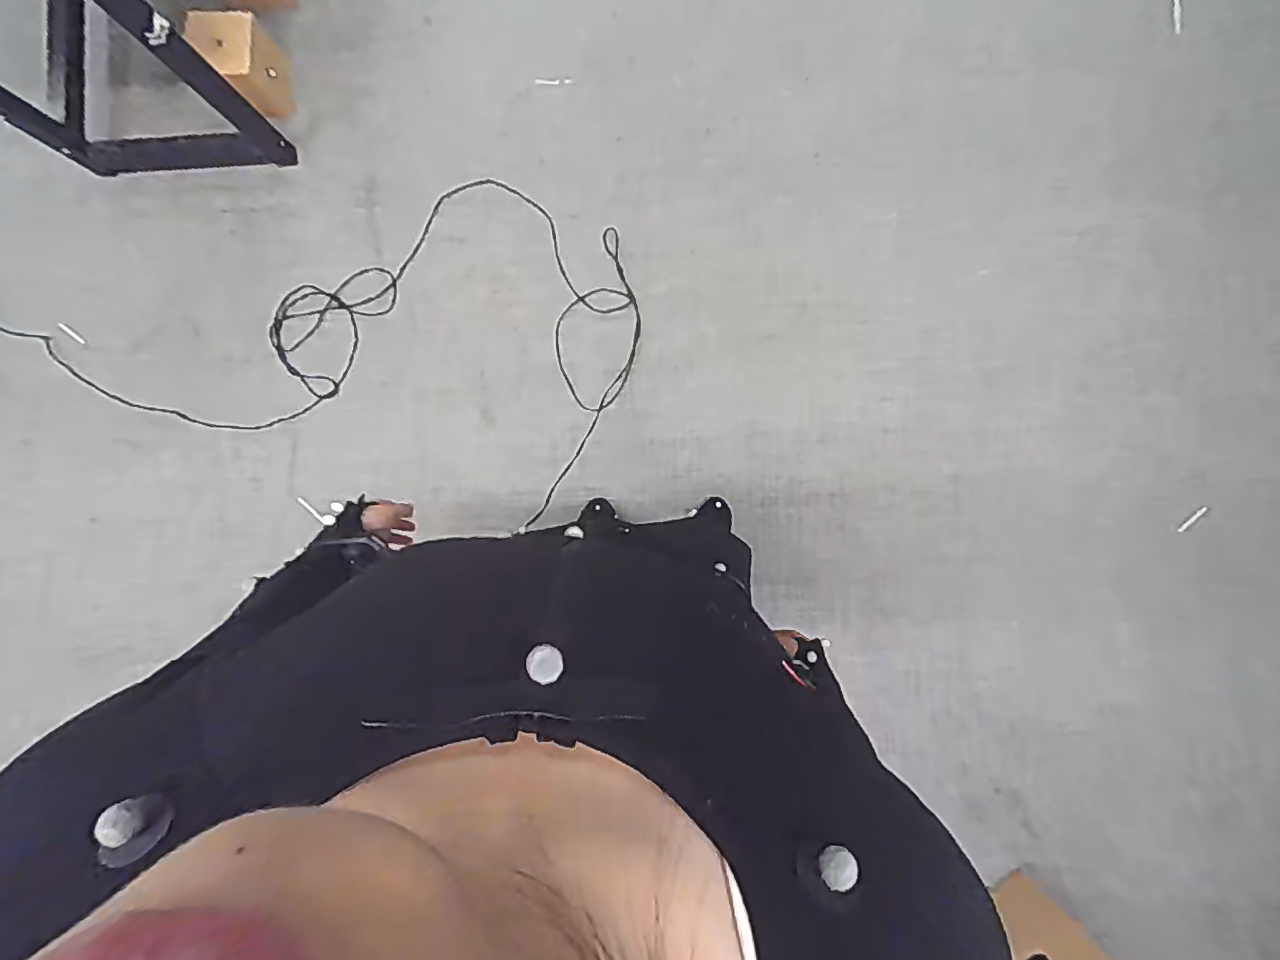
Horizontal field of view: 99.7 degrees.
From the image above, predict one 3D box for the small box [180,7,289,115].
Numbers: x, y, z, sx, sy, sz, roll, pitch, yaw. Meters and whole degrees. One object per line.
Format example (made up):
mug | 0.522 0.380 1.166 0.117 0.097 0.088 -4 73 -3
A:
small box | -1.086 -1.123 1.460 0.179 0.176 0.168 2 89 1
